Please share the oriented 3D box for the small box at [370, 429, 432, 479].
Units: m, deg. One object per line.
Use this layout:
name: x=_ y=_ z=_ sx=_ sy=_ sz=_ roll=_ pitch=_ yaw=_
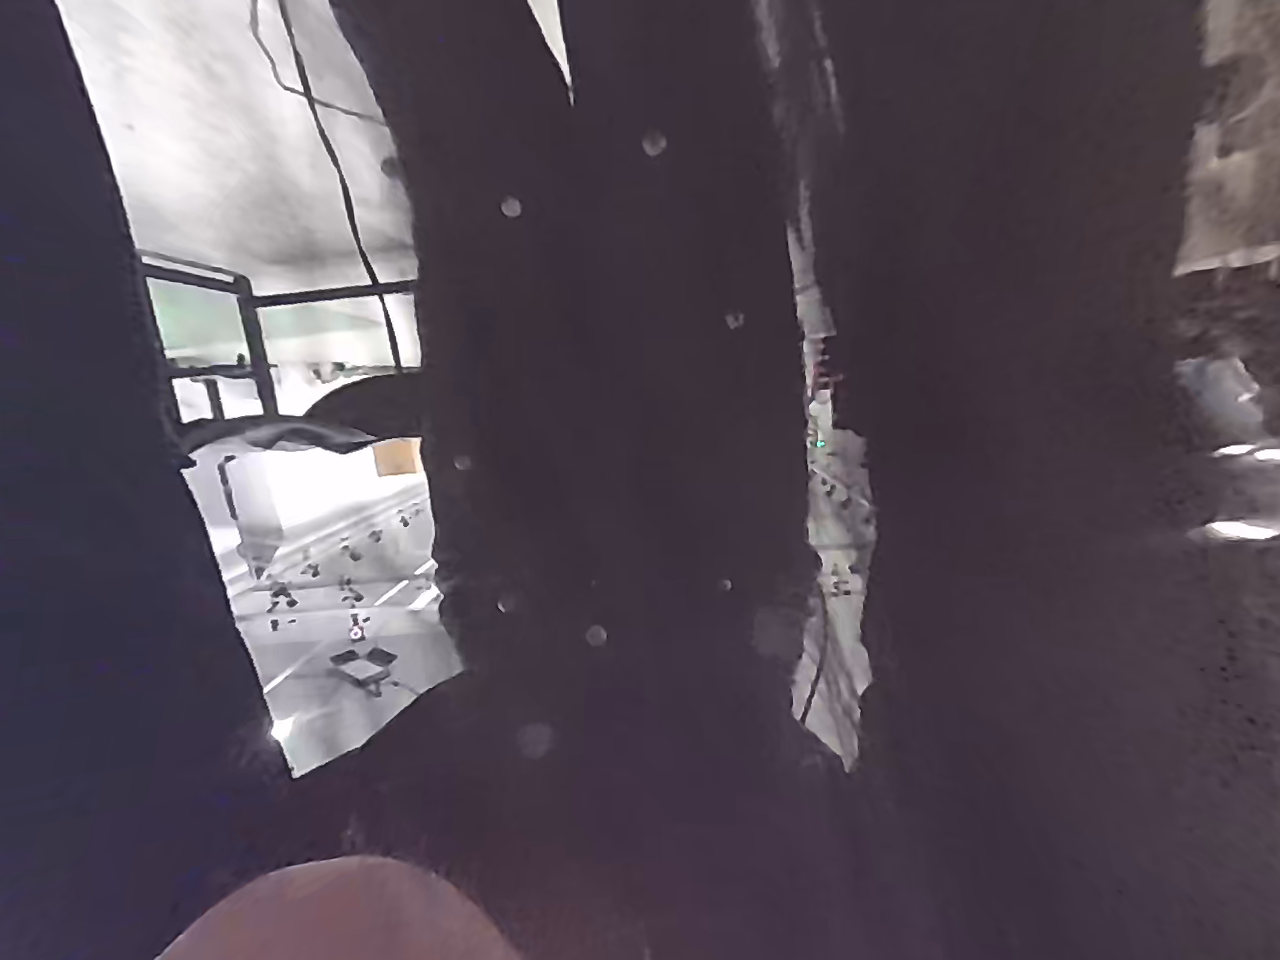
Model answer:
small box: x=-0.978 y=-0.110 z=2.216 sx=0.168 sy=0.176 sz=0.179 roll=-5 pitch=-169 yaw=2
